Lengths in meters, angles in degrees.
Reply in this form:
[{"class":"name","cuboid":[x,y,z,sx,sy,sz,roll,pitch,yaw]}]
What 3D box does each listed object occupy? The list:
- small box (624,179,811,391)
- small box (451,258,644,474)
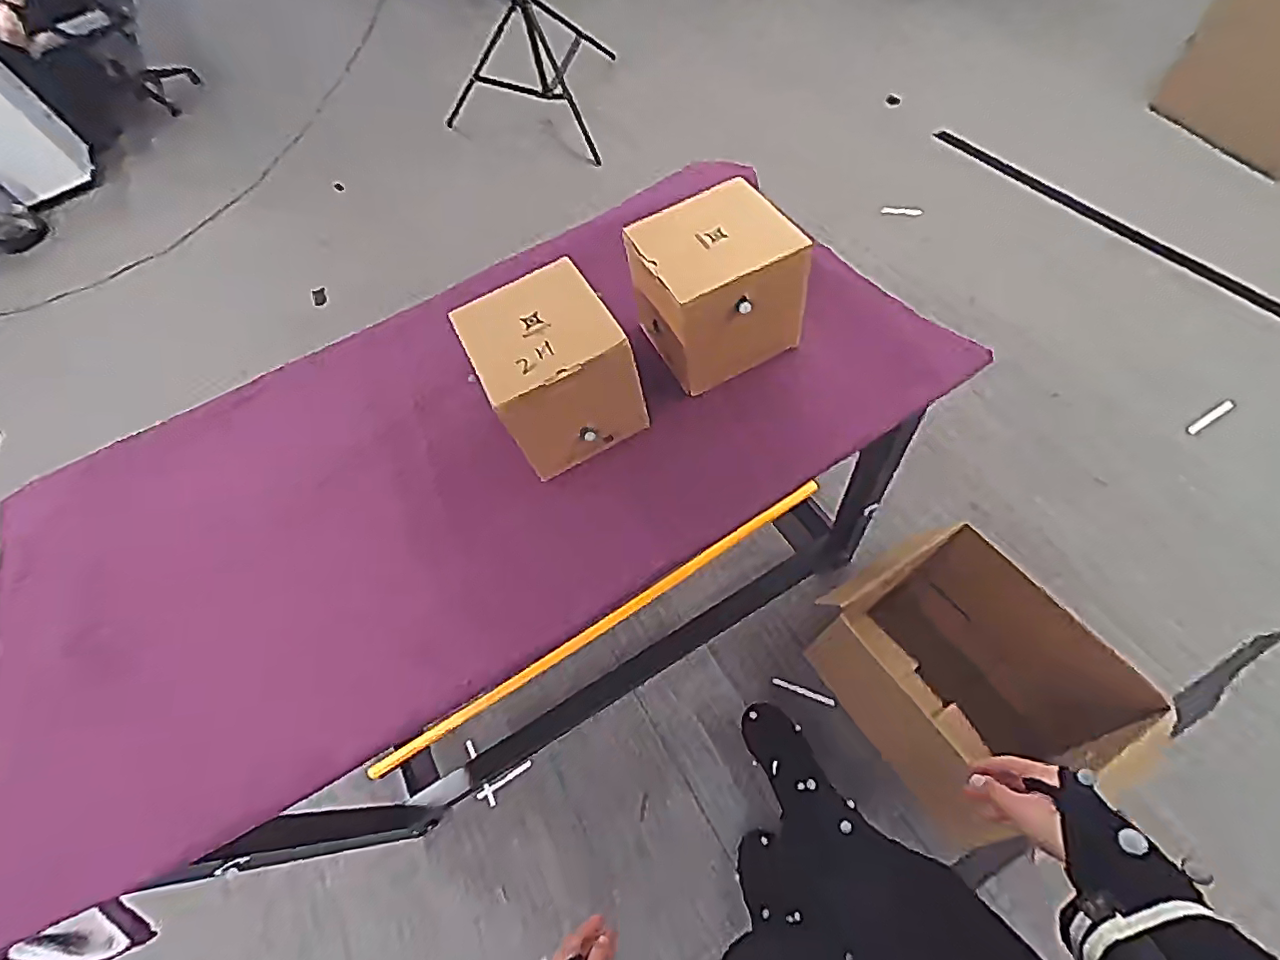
[{"class":"small box","cuboid":[0.100,-0.254,0.724,0.179,0.176,0.168,-27,59,-5]},{"class":"small box","cuboid":[-0.111,-0.140,0.695,0.168,0.176,0.179,-29,60,-6]}]
